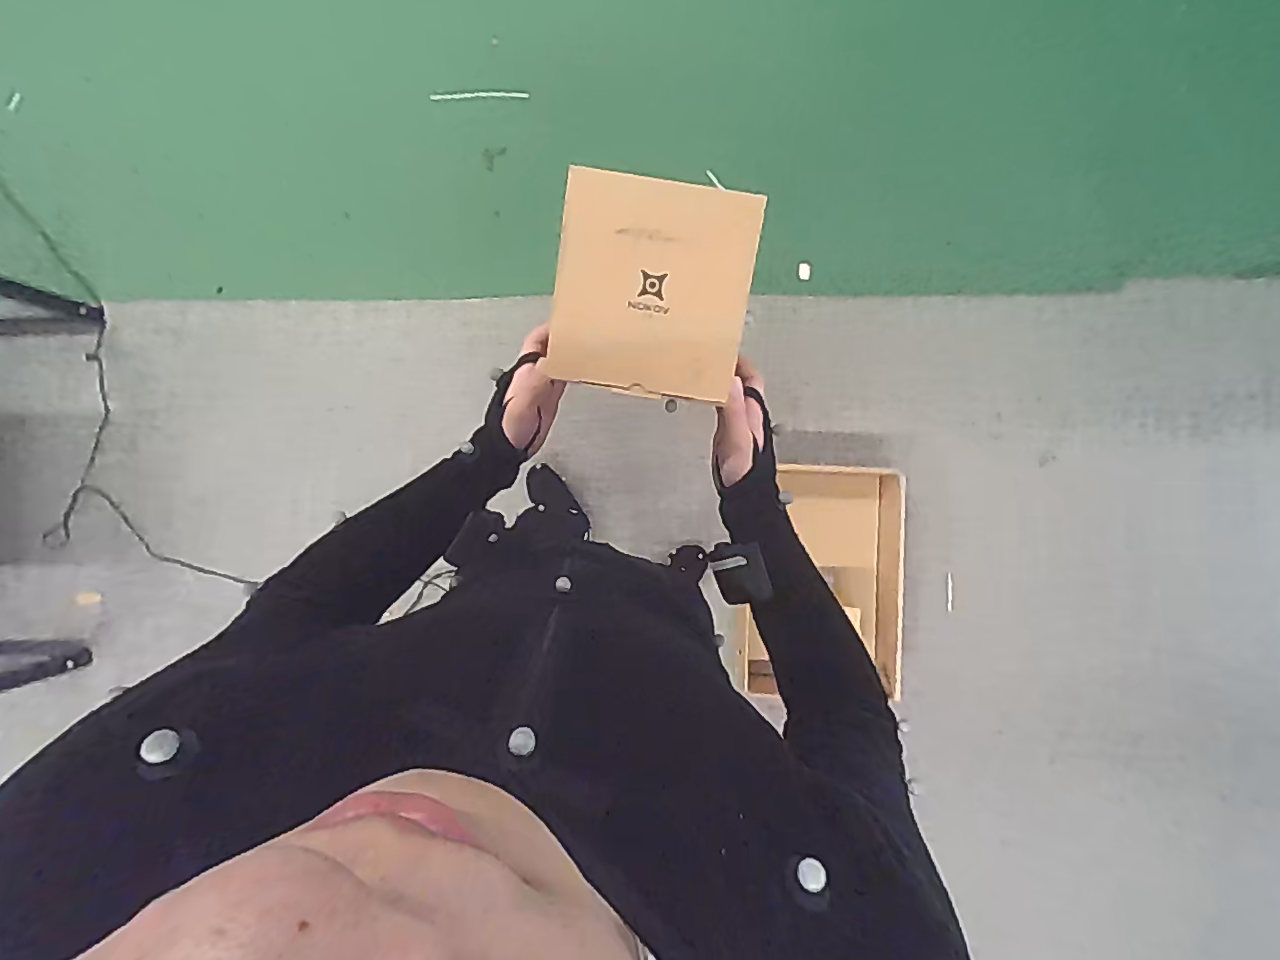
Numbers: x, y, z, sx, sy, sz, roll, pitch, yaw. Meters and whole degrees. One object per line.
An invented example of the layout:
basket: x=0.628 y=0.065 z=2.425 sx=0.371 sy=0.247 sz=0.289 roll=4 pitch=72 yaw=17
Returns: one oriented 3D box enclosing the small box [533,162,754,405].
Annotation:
small box: x=0.002 y=-0.175 z=0.532 sx=0.168 sy=0.176 sz=0.179 roll=9 pitch=99 yaw=-1
